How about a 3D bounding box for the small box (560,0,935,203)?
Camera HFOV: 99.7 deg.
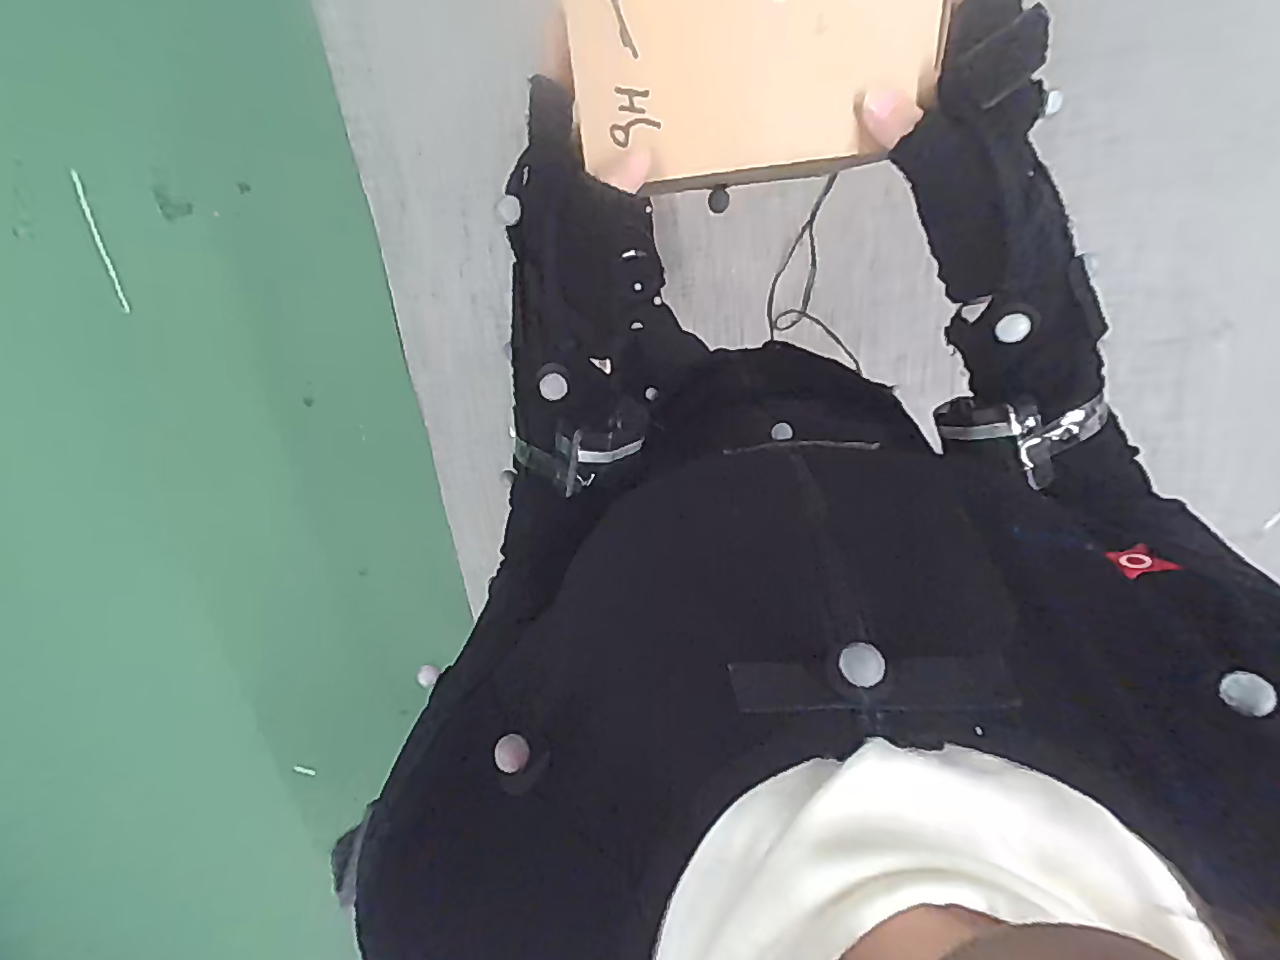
[{"bbox_3d":[0.045,-0.264,0.315,0.179,0.176,0.168,-6,113,0],"label":"small box"}]
